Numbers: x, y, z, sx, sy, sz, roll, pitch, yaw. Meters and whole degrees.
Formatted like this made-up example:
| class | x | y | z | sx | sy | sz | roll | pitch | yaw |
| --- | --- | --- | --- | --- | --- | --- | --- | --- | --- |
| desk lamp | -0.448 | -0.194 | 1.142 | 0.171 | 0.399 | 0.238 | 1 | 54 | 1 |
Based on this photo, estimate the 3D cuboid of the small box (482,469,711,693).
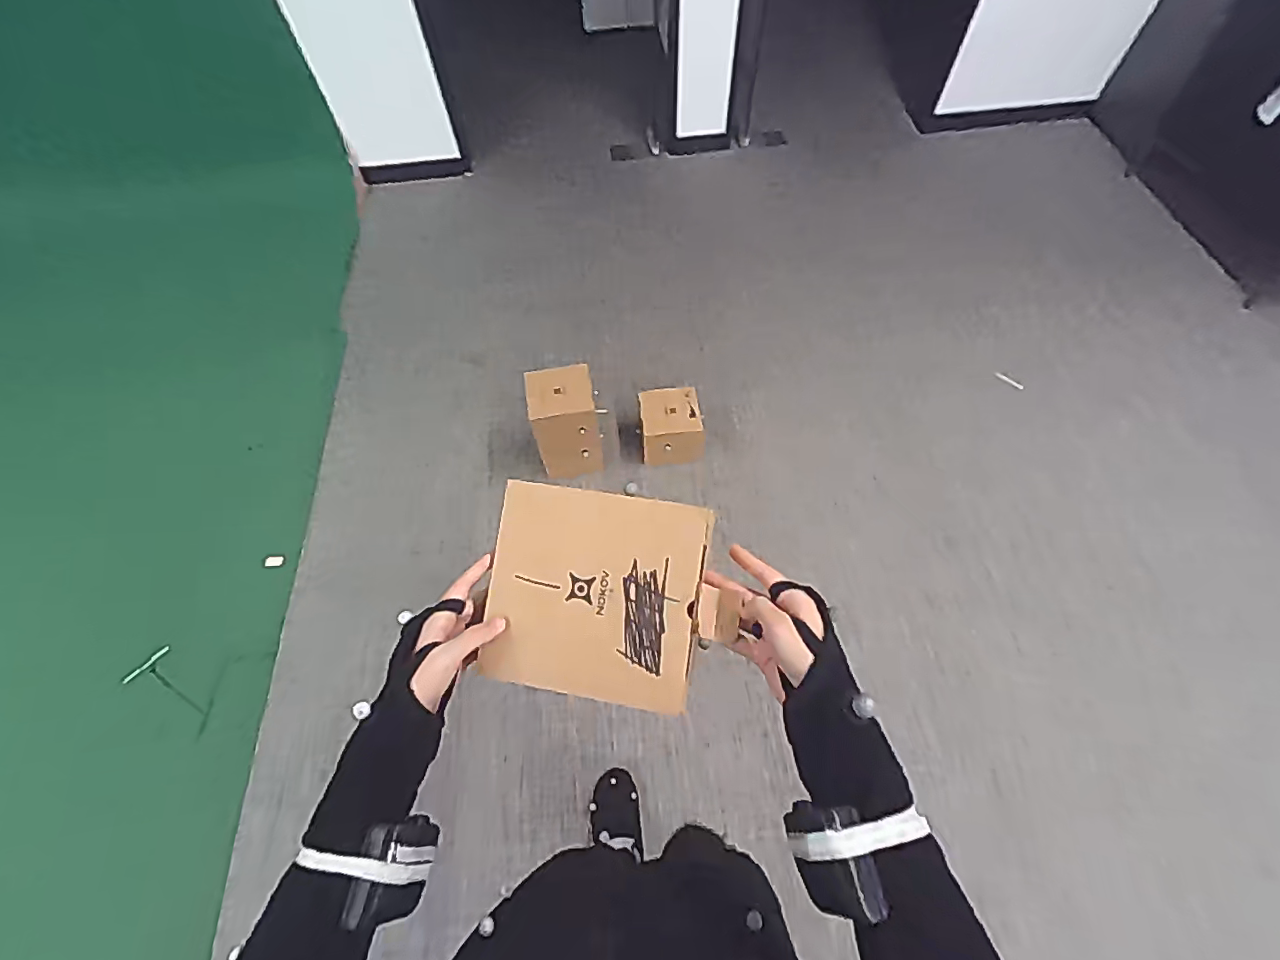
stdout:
| class | x | y | z | sx | sy | sz | roll | pitch | yaw |
| --- | --- | --- | --- | --- | --- | --- | --- | --- | --- |
| small box | -0.027 | 0.091 | 0.534 | 0.179 | 0.176 | 0.168 | 8 | 84 | 10 |

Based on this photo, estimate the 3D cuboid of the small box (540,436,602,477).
| class | x | y | z | sx | sy | sz | roll | pitch | yaw |
| --- | --- | --- | --- | --- | --- | --- | --- | --- | --- |
| small box | -0.214 | -0.116 | 1.669 | 0.179 | 0.176 | 0.168 | -9 | 60 | -3 |

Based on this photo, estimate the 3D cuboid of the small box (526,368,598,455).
| class | x | y | z | sx | sy | sz | roll | pitch | yaw |
| --- | --- | --- | --- | --- | --- | --- | --- | --- | --- |
| small box | -0.214 | -0.188 | 1.522 | 0.179 | 0.176 | 0.168 | -10 | 60 | -3 |
